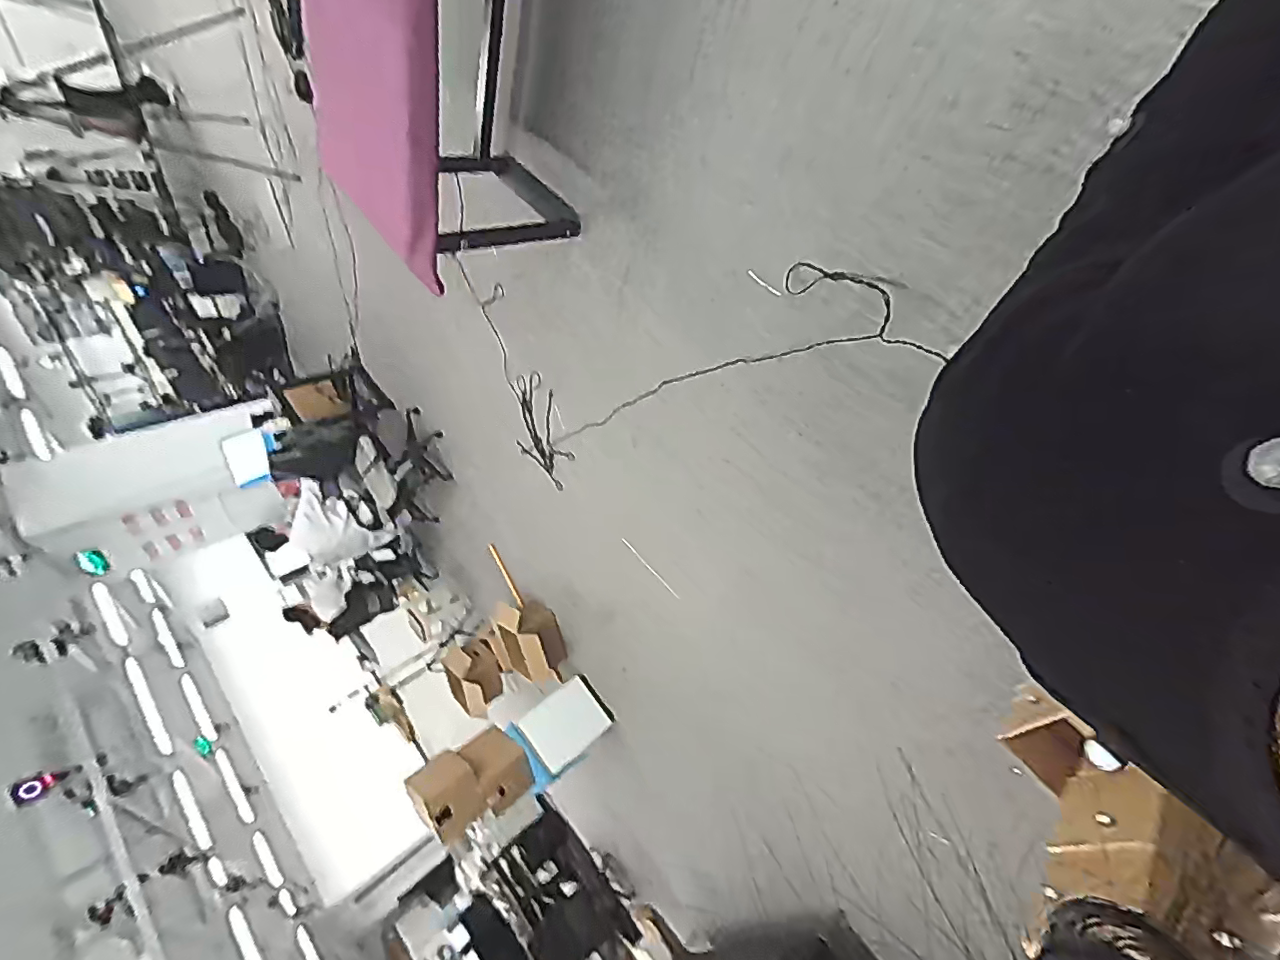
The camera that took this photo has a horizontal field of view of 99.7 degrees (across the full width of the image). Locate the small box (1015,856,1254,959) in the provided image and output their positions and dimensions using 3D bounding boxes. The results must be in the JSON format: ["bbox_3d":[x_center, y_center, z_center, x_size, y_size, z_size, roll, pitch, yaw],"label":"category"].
[{"bbox_3d":[0.675,0.655,0.741,0.168,0.176,0.179,50,141,17],"label":"small box"}]

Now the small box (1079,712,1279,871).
[{"bbox_3d":[0.913,0.522,0.922,0.179,0.176,0.168,51,142,16],"label":"small box"}]

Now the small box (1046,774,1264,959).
[{"bbox_3d":[0.789,0.587,0.836,0.168,0.176,0.179,51,142,18],"label":"small box"}]
